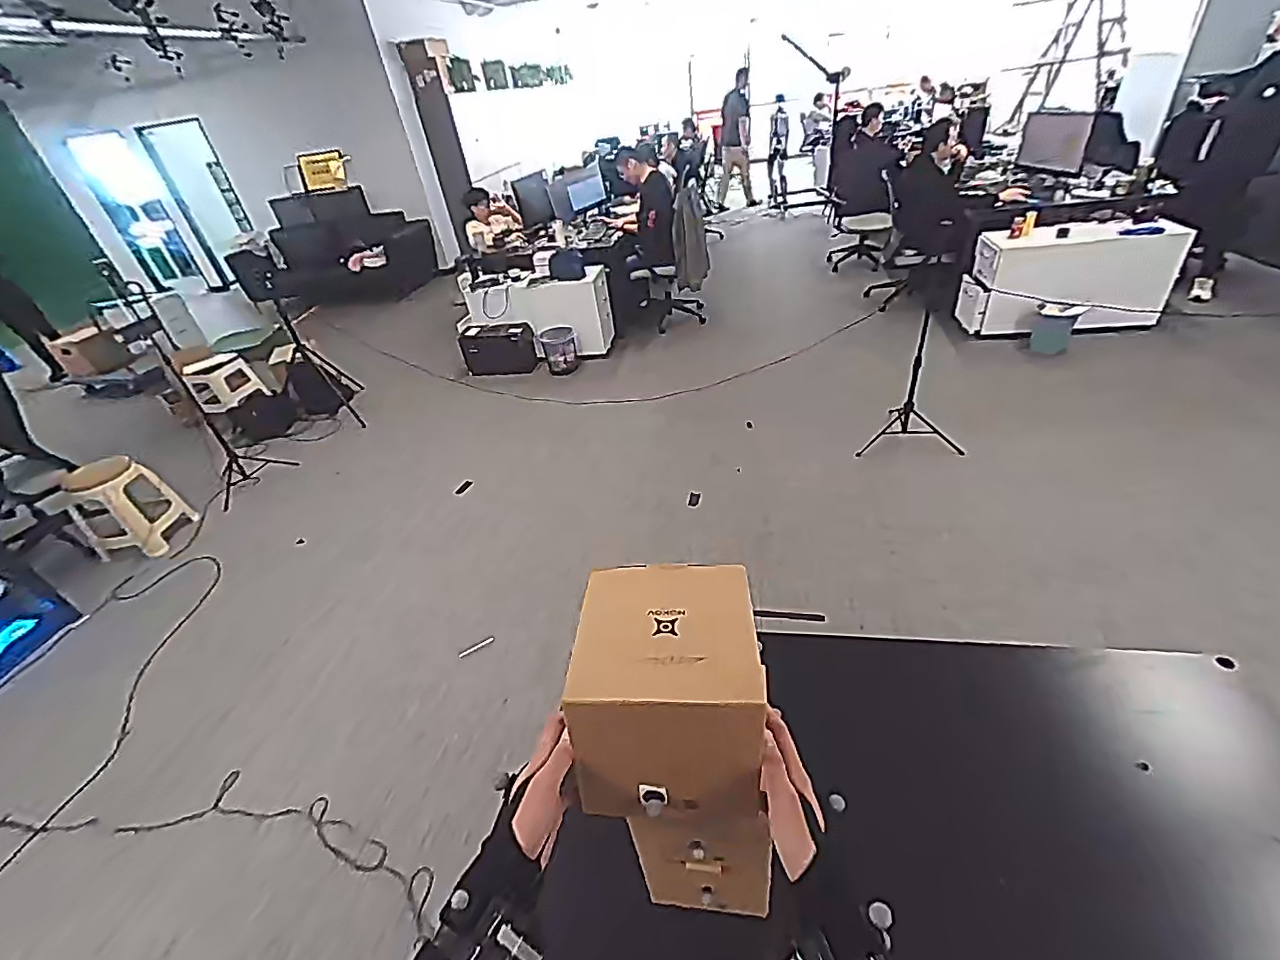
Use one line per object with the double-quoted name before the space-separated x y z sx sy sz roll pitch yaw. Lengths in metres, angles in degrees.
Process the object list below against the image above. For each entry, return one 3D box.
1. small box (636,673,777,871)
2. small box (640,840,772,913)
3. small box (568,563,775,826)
"small box" 0.082 0.351 0.680 0.168 0.176 0.179 -1 36 11
"small box" 0.102 0.485 0.775 0.168 0.176 0.179 -1 37 10
"small box" 0.033 0.201 0.531 0.168 0.176 0.179 -2 29 5
